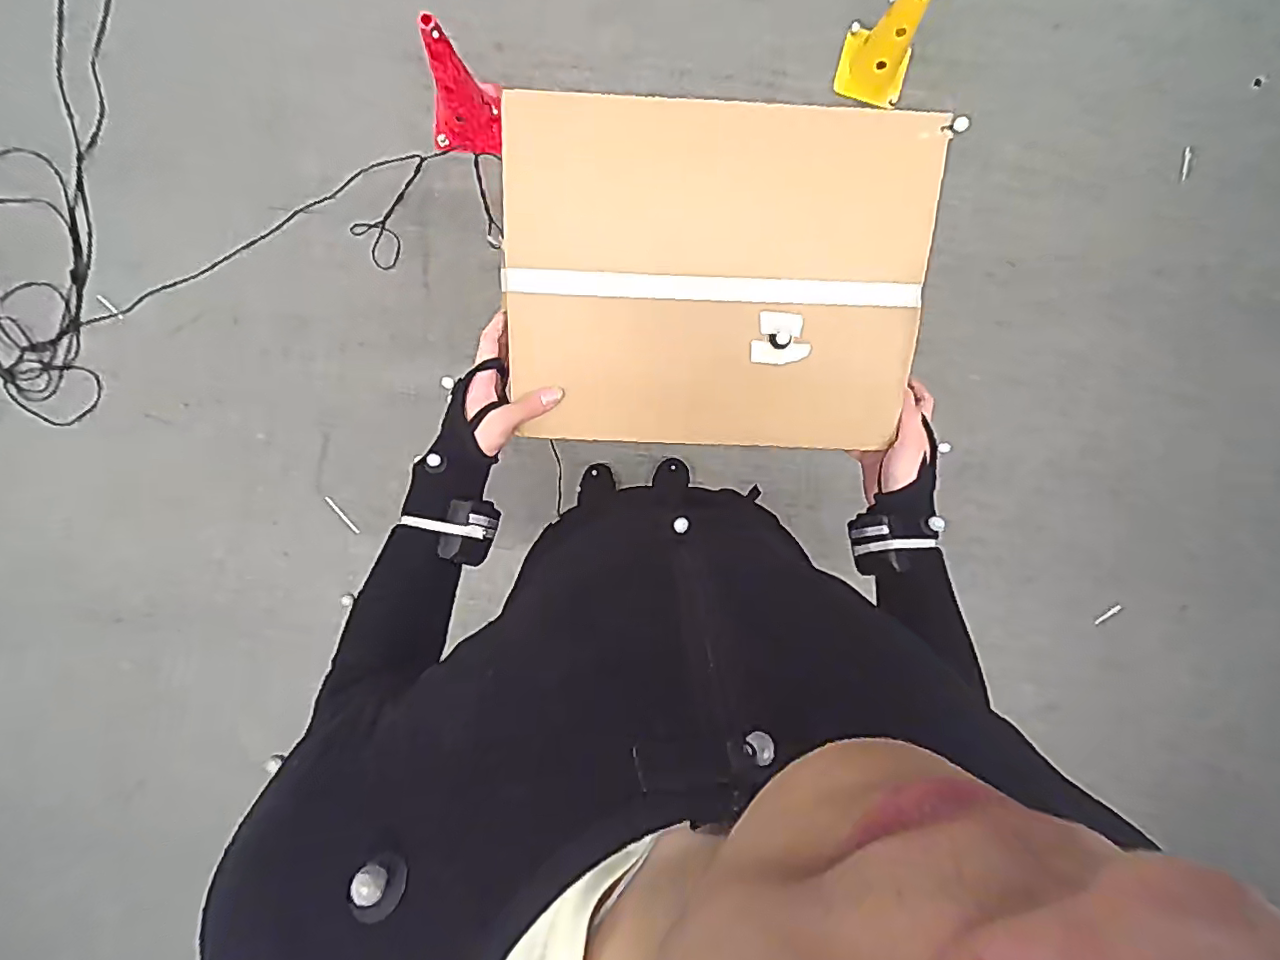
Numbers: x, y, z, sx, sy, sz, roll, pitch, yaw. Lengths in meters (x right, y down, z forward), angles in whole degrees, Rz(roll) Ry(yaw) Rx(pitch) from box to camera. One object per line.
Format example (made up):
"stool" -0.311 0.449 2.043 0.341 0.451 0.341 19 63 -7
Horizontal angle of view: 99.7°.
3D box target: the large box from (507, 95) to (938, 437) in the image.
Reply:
"large box" 0.069 -0.236 0.675 0.408 0.320 0.320 1 107 -2
